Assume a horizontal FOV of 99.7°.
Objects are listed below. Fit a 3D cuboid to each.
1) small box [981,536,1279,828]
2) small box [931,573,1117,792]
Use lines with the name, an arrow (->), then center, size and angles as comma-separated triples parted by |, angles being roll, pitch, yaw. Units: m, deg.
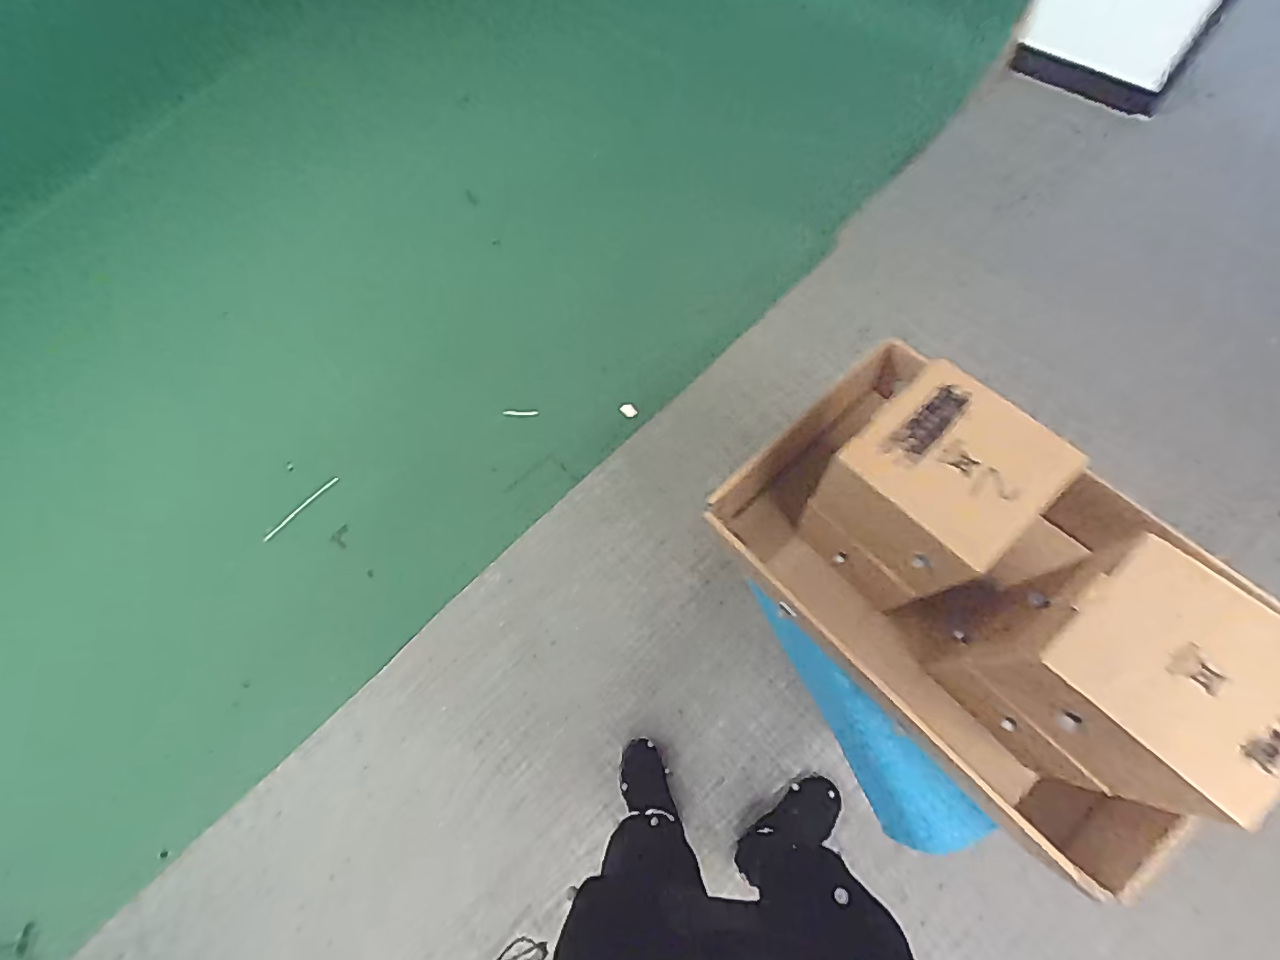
small box -> 0.480, 0.188, 0.524 | 0.168, 0.176, 0.179 | -43, 66, -6
small box -> 0.507, 0.247, 0.675 | 0.168, 0.176, 0.179 | -41, 68, -6
